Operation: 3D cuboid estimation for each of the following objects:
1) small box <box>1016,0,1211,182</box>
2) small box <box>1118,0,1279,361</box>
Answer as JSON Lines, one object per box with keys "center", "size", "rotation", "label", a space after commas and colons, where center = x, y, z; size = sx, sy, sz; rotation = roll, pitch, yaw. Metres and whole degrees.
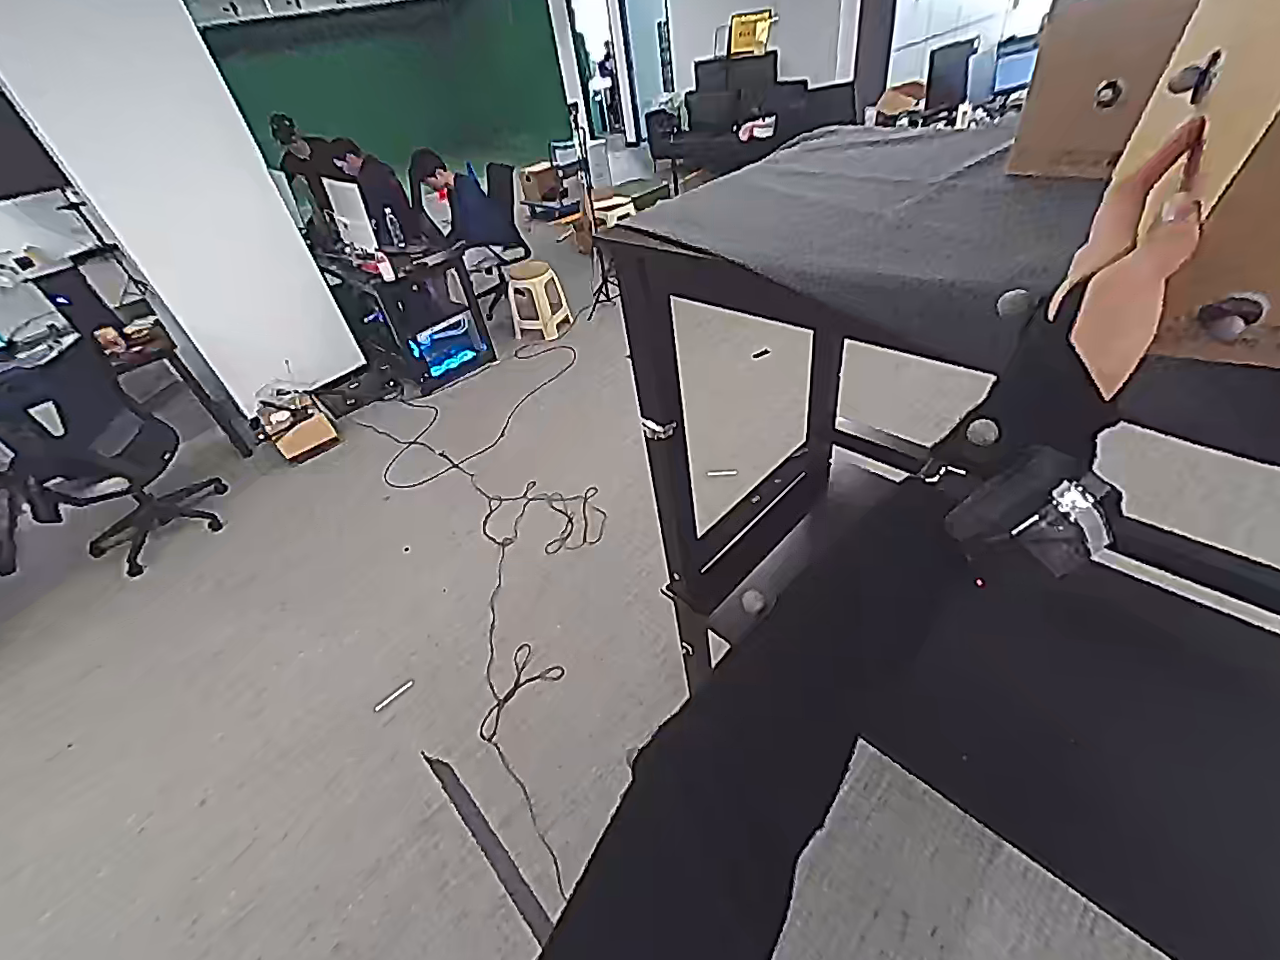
{"center": [0.543, -0.437, 0.586], "size": [0.168, 0.176, 0.179], "rotation": [29, 54, 36], "label": "small box"}
{"center": [0.353, -0.162, 0.239], "size": [0.168, 0.176, 0.179], "rotation": [13, 61, 21], "label": "small box"}
